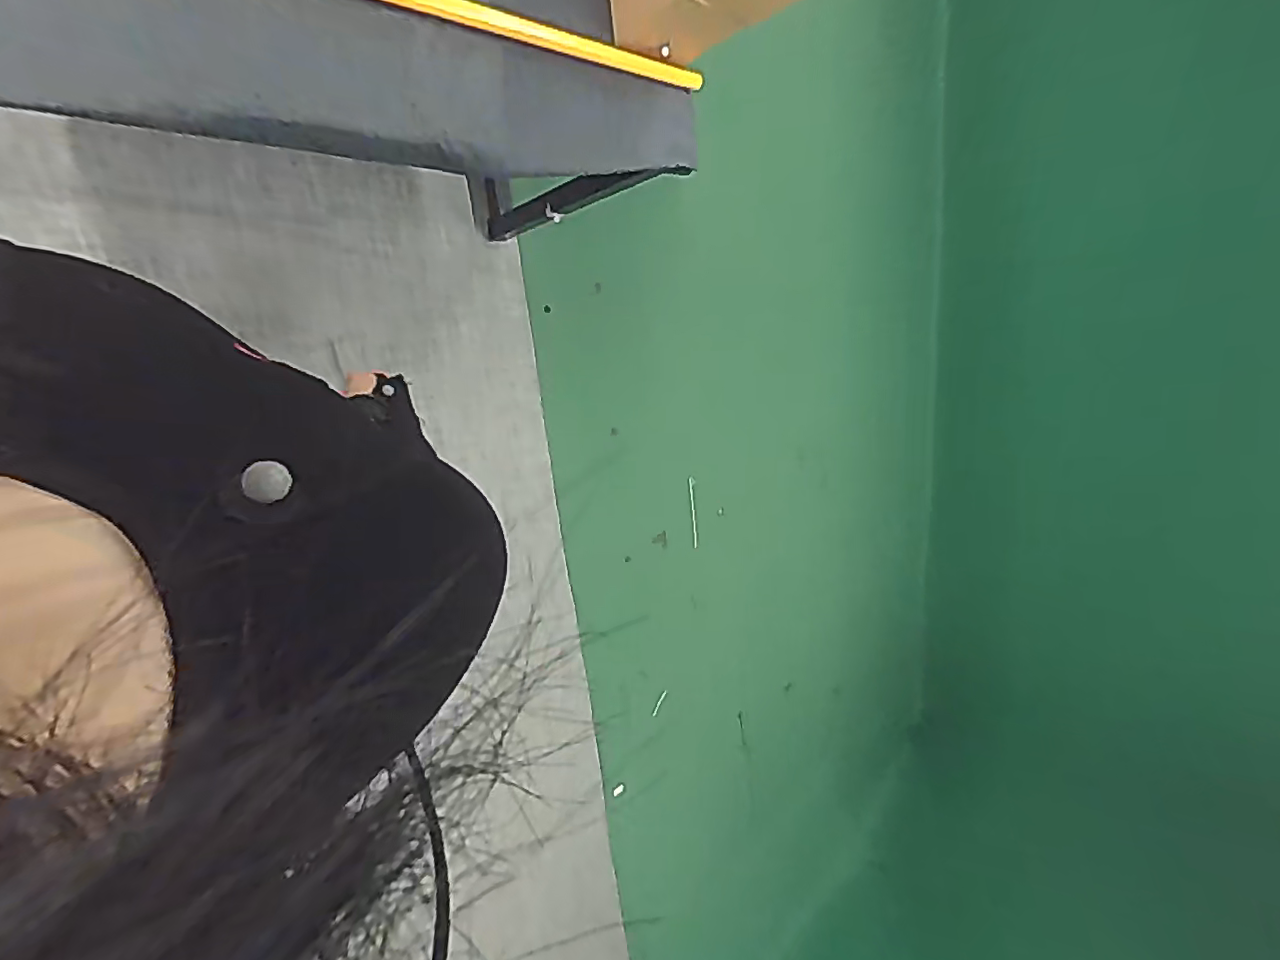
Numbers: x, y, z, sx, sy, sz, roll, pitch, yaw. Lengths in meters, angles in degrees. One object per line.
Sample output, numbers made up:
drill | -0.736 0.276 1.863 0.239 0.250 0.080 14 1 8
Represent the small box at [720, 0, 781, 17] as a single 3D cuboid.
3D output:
small box | 0.171 -0.806 0.760 0.179 0.176 0.168 -14 107 -41
